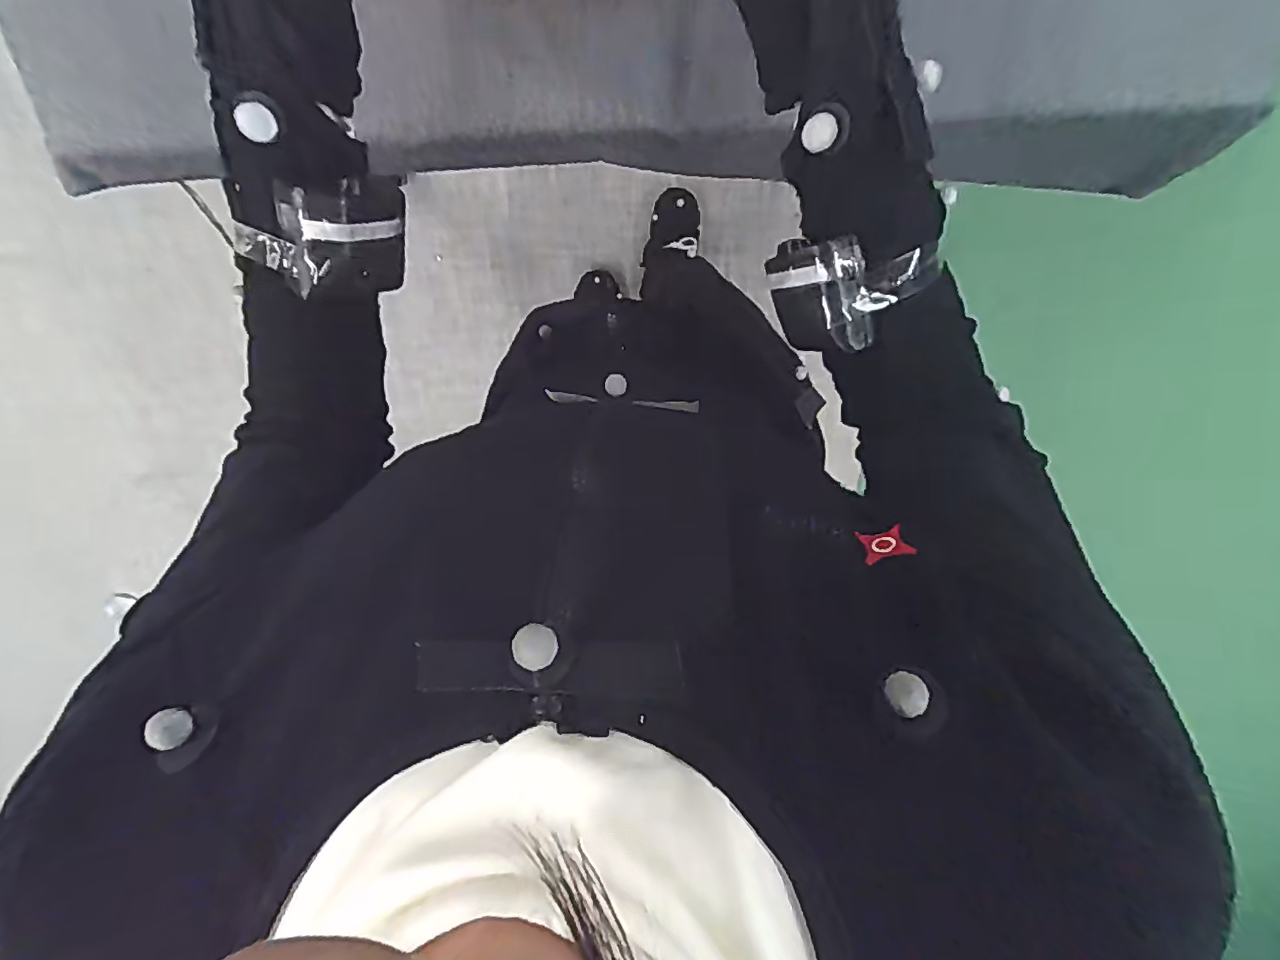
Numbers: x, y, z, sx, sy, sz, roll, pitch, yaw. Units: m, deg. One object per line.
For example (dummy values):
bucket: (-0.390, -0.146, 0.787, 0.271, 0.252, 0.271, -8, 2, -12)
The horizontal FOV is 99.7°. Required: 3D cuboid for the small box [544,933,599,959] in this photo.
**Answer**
small box: (-0.232, 1.659, 1.805, 0.179, 0.176, 0.168, -4, 113, 0)
